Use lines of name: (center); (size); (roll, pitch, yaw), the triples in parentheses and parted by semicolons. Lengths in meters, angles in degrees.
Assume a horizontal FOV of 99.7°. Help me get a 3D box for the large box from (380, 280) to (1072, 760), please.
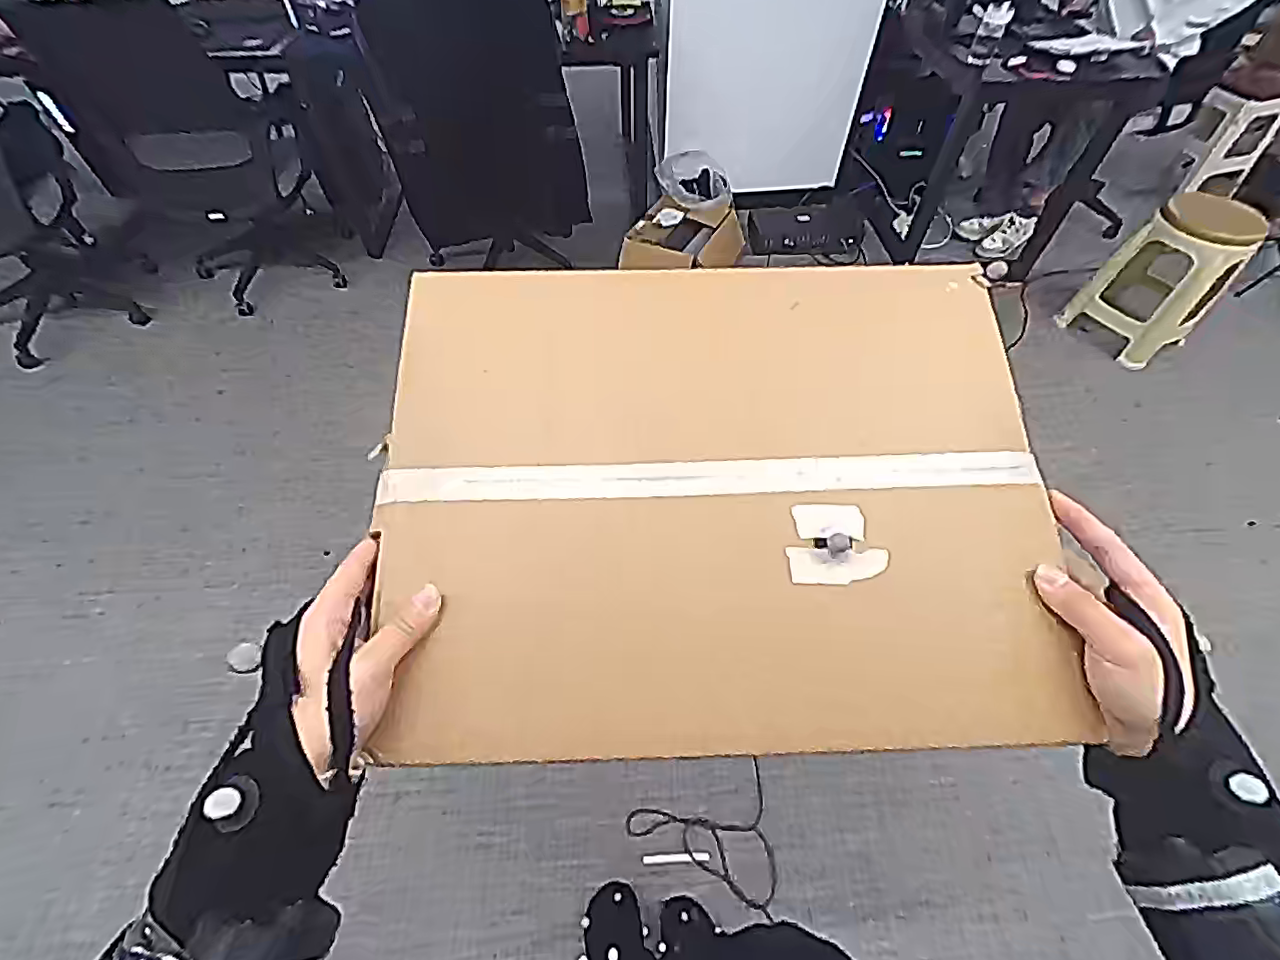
large box: (0.042, 0.049, 0.492); (0.408, 0.320, 0.320); (-1, 72, -1)
